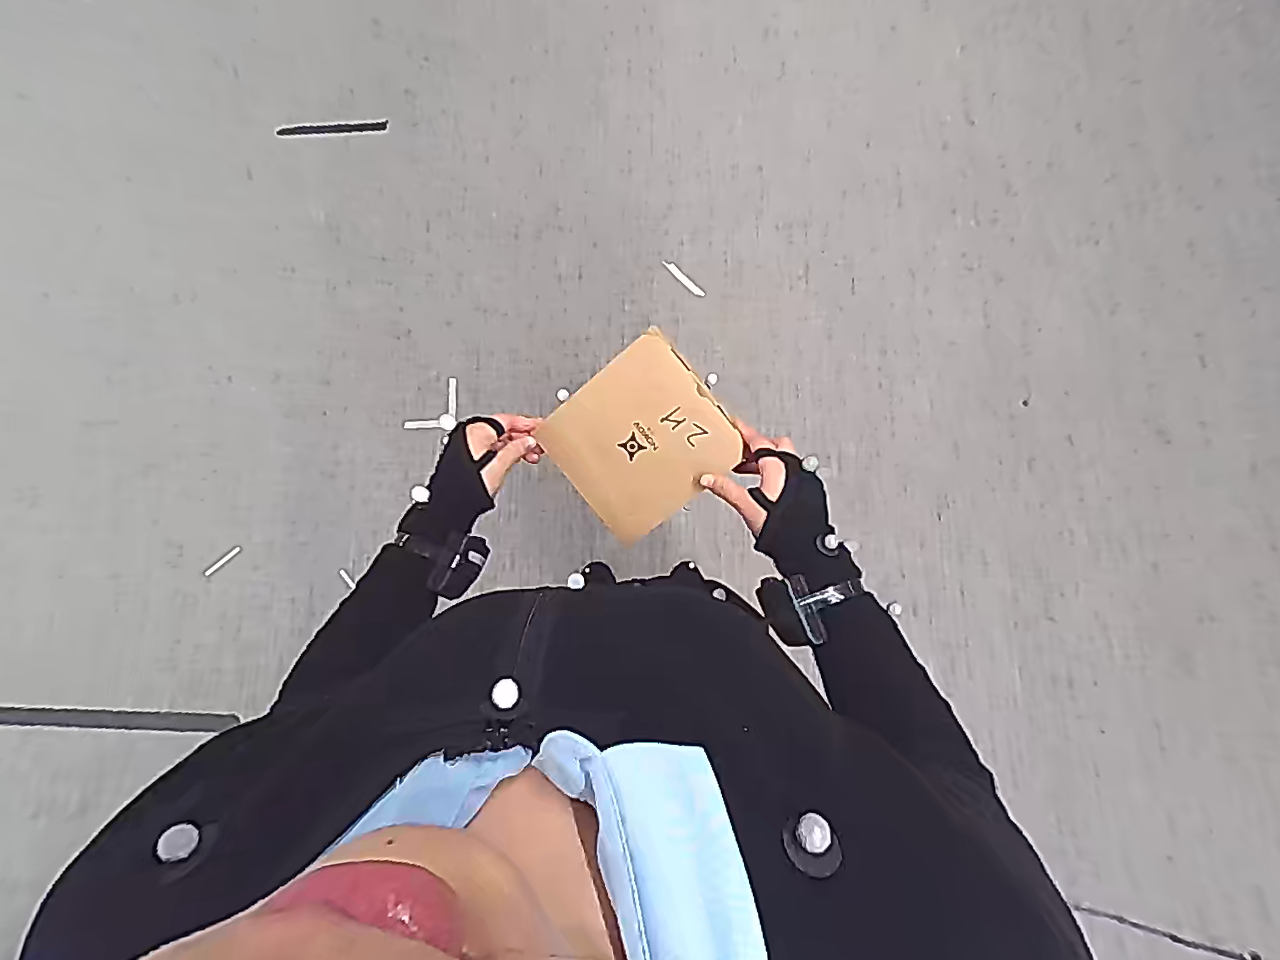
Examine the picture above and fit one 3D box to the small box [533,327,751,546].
[{"bbox_3d":[0.010,-0.056,0.639,0.179,0.176,0.168,-39,95,13],"label":"small box"}]
